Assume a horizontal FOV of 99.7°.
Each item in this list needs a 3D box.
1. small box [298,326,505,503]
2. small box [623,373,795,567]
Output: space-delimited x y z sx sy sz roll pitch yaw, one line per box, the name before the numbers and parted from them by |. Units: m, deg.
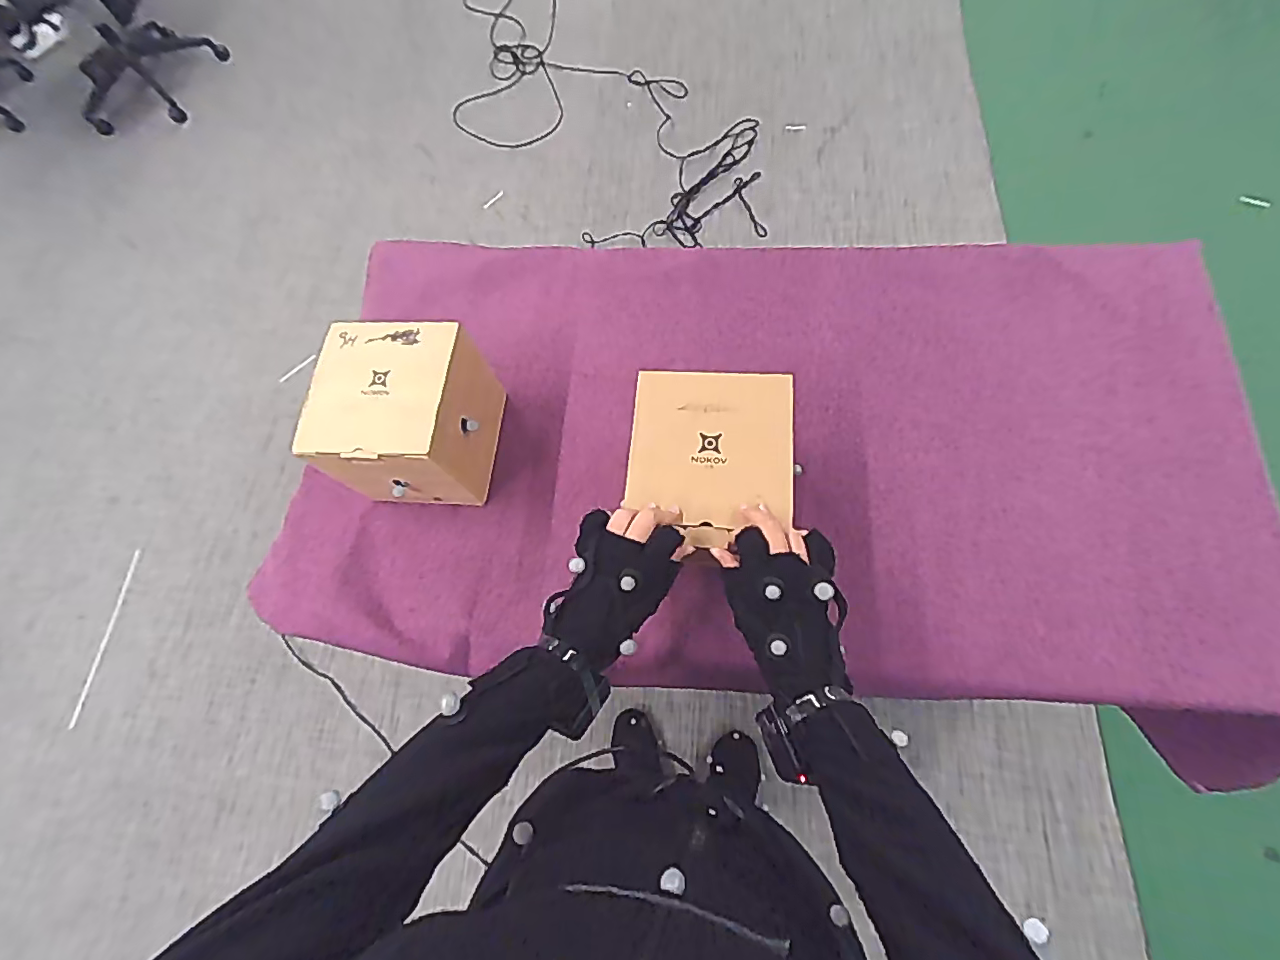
small box | -0.286 -0.075 0.693 0.168 0.176 0.179 2 70 7
small box | 0.082 -0.003 0.622 0.168 0.176 0.179 3 69 8
